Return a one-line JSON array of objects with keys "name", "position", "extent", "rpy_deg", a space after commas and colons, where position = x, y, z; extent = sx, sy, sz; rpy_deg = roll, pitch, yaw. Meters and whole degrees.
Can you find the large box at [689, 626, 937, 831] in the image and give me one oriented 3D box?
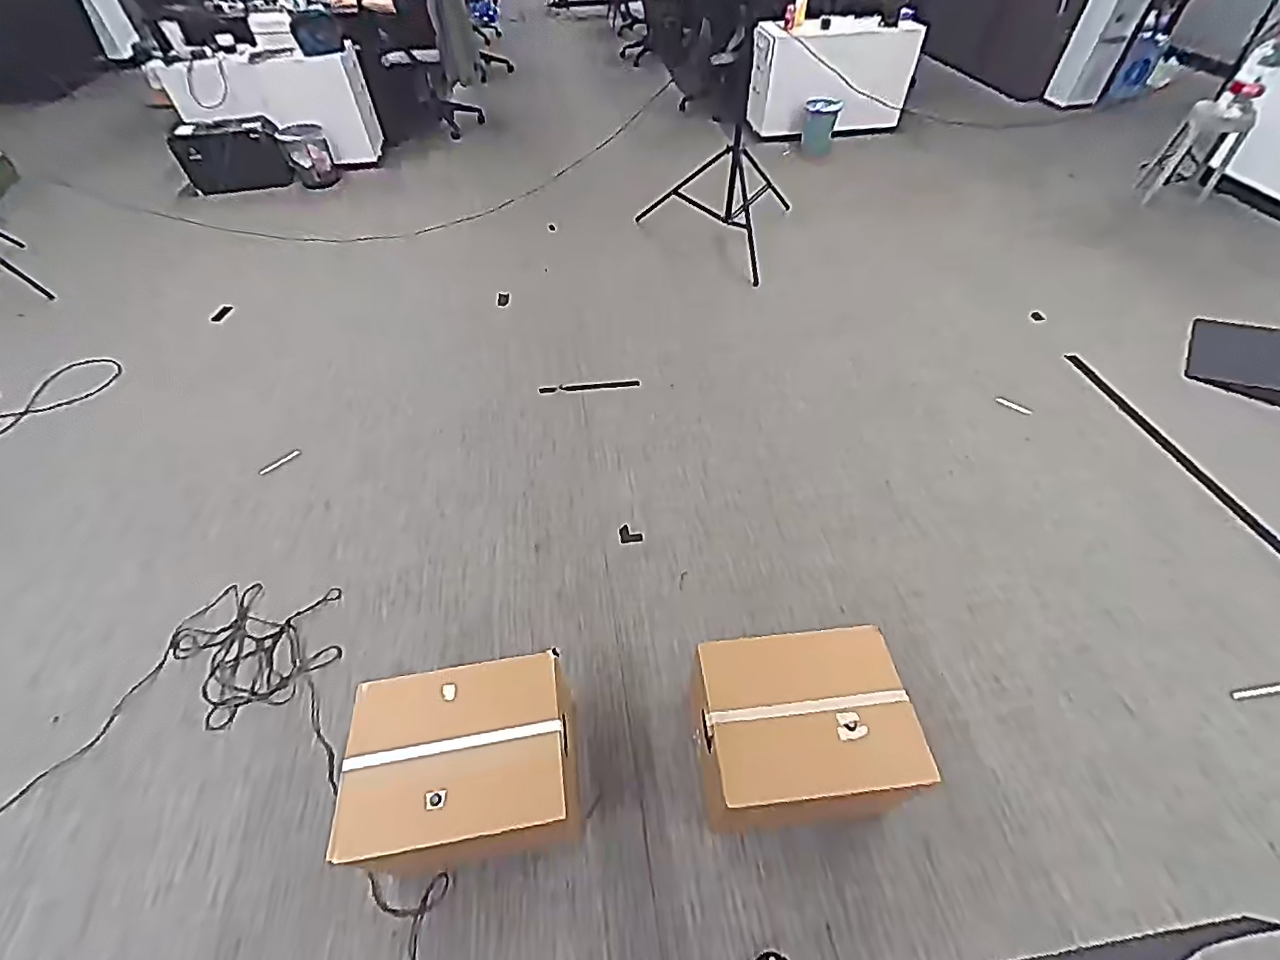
[{"name": "large box", "position": [0.340, 0.552, 1.198], "extent": [0.408, 0.320, 0.320], "rpy_deg": [-4, 50, -4]}]
